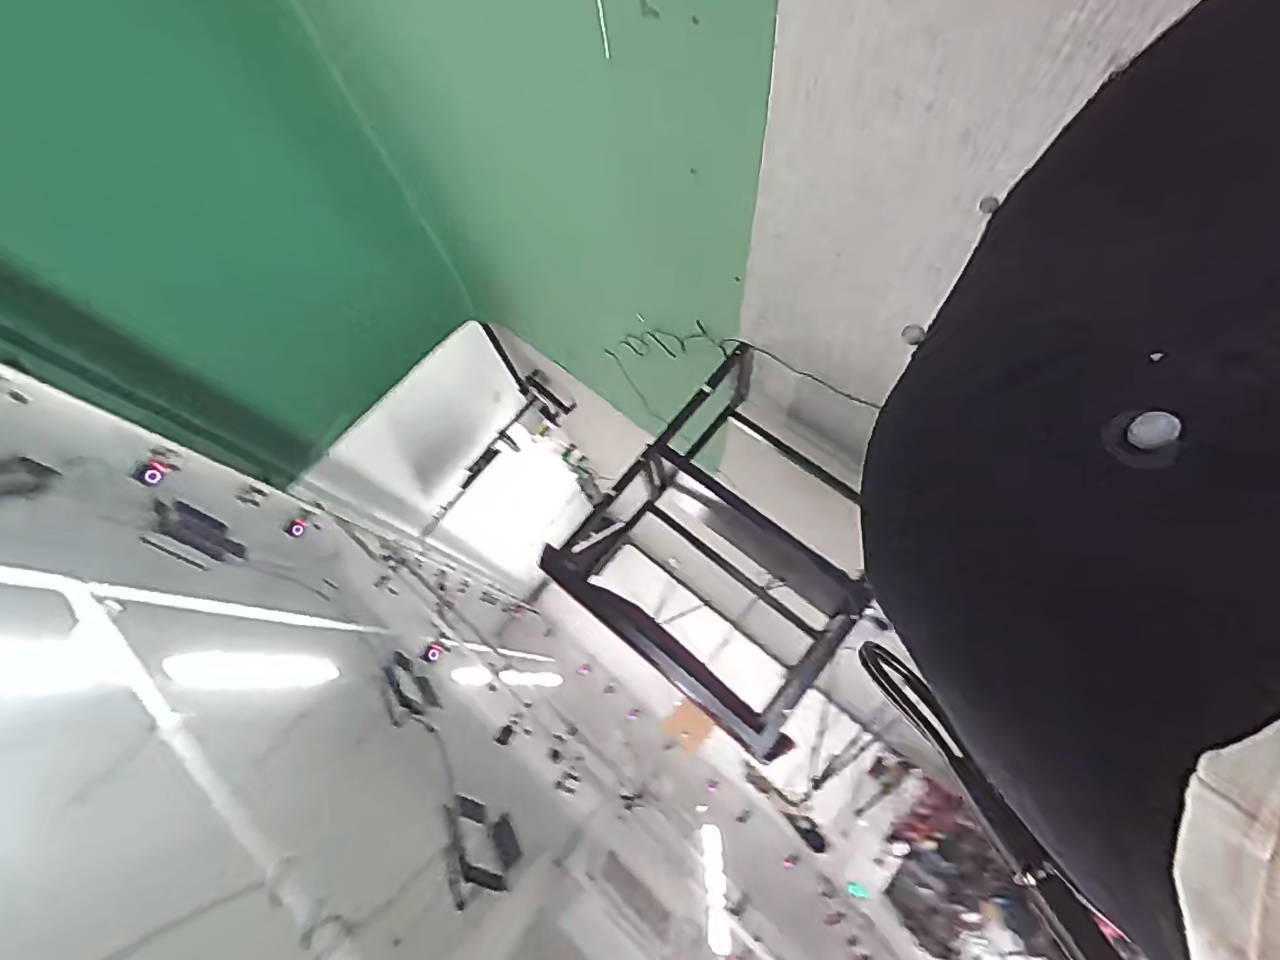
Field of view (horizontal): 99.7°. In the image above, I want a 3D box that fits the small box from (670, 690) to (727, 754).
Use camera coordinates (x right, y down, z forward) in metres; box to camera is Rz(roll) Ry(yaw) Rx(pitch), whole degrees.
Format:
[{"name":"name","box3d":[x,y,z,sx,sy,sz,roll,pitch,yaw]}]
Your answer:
[{"name":"small box","box3d":[0.249,1.001,2.249,0.179,0.176,0.168,37,167,21]}]
